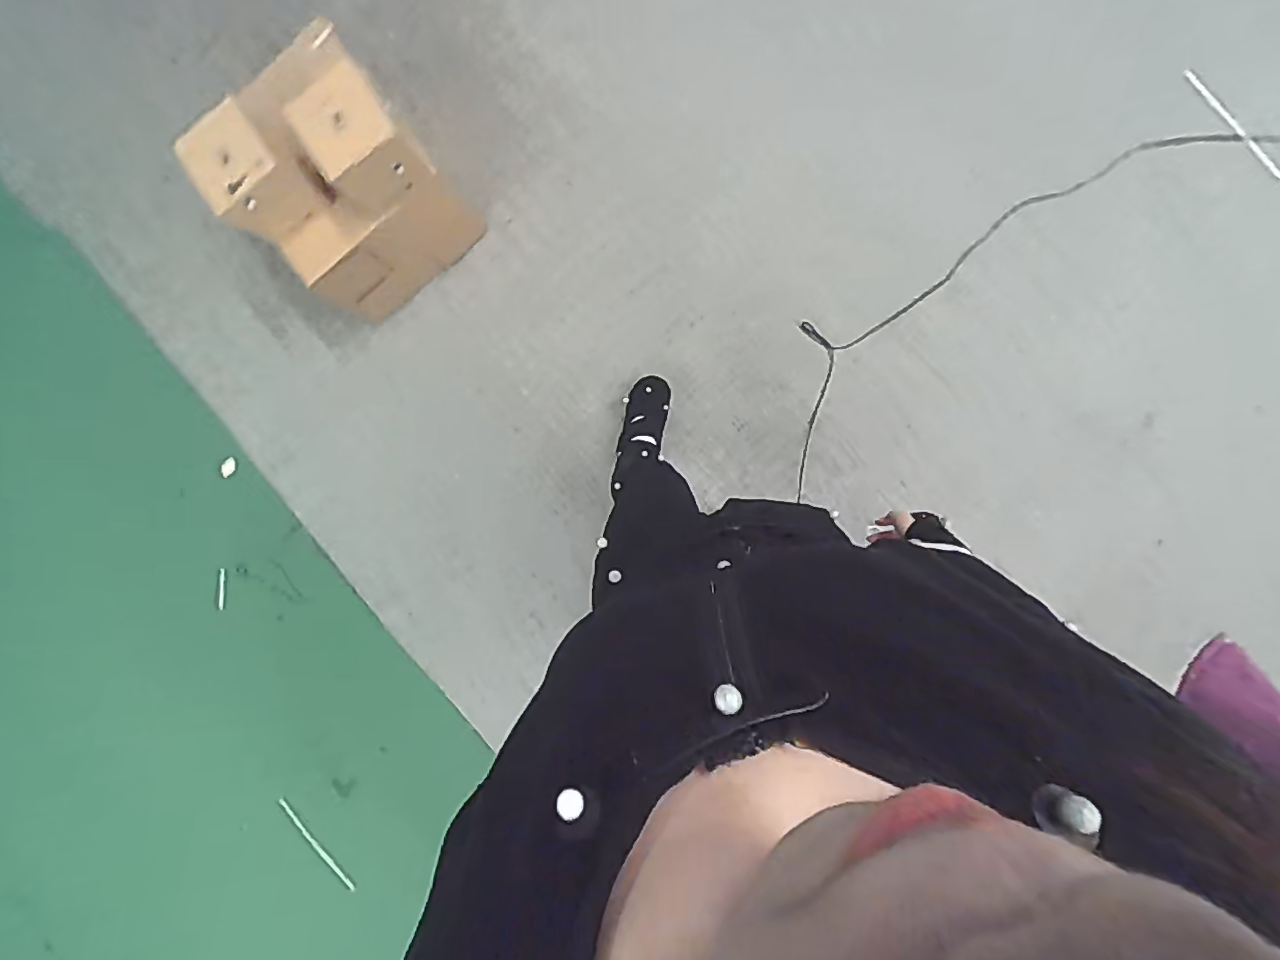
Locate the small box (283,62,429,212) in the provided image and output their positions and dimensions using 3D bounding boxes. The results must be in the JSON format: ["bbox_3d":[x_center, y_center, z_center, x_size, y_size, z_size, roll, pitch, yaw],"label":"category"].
[{"bbox_3d":[-0.576,-0.692,1.122,0.168,0.176,0.179,-33,88,6],"label":"small box"}]

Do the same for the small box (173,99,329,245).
[{"bbox_3d":[-0.817,-0.642,1.153,0.168,0.176,0.179,-34,87,8],"label":"small box"}]
